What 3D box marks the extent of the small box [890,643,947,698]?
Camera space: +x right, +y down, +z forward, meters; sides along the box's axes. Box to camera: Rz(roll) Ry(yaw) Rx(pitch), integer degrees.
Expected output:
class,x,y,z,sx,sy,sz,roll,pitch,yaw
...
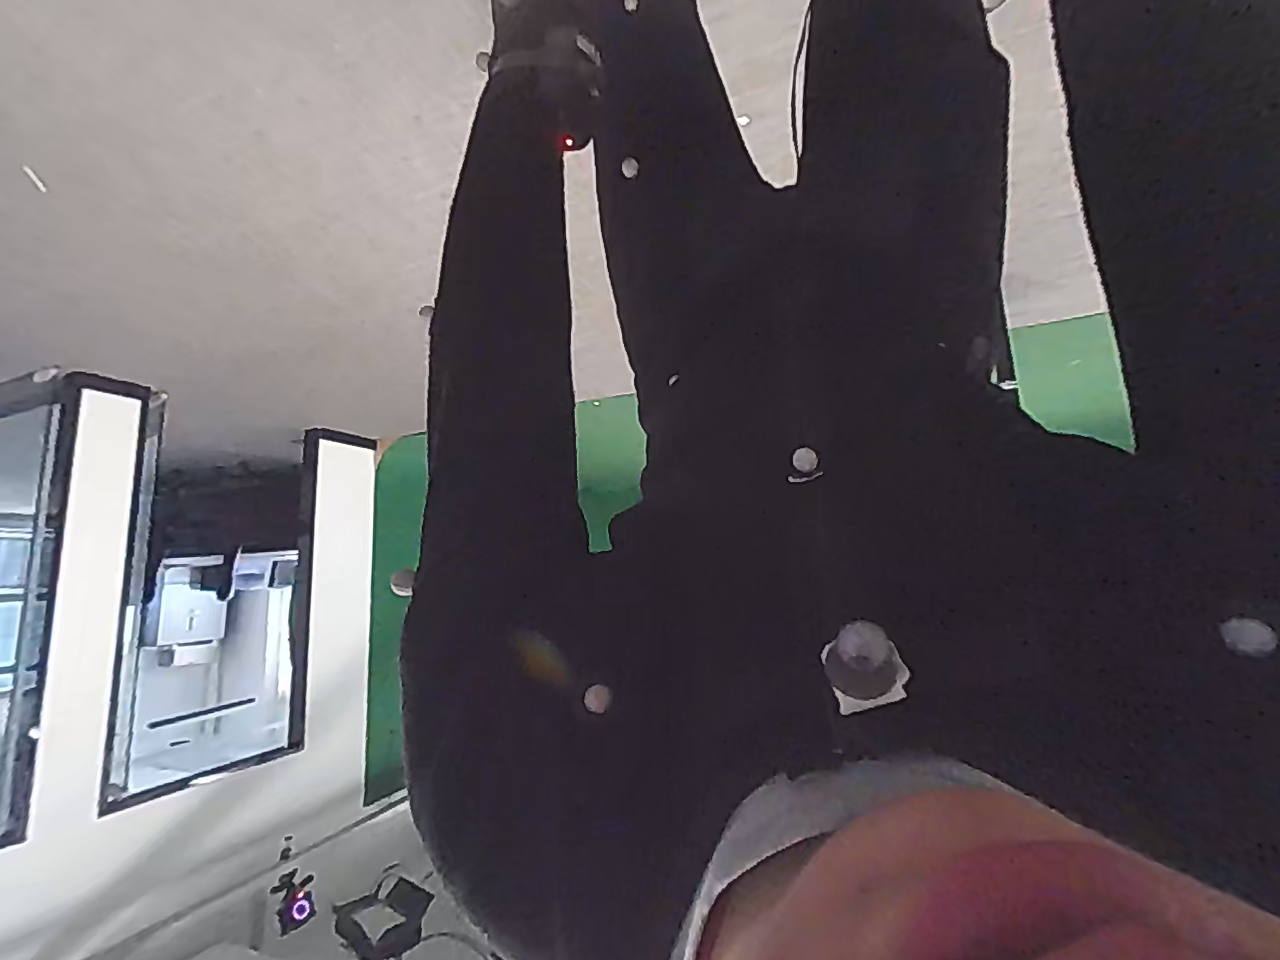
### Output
class,x,y,z,sx,sy,sz,roll,pitch,yaw
small box,1.048,0.719,2.048,0.168,0.176,0.179,-8,169,23

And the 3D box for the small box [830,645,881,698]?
class,x,y,z,sx,sy,sz,roll,pitch,yaw
small box,0.848,0.744,2.123,0.168,0.176,0.179,-8,168,28
